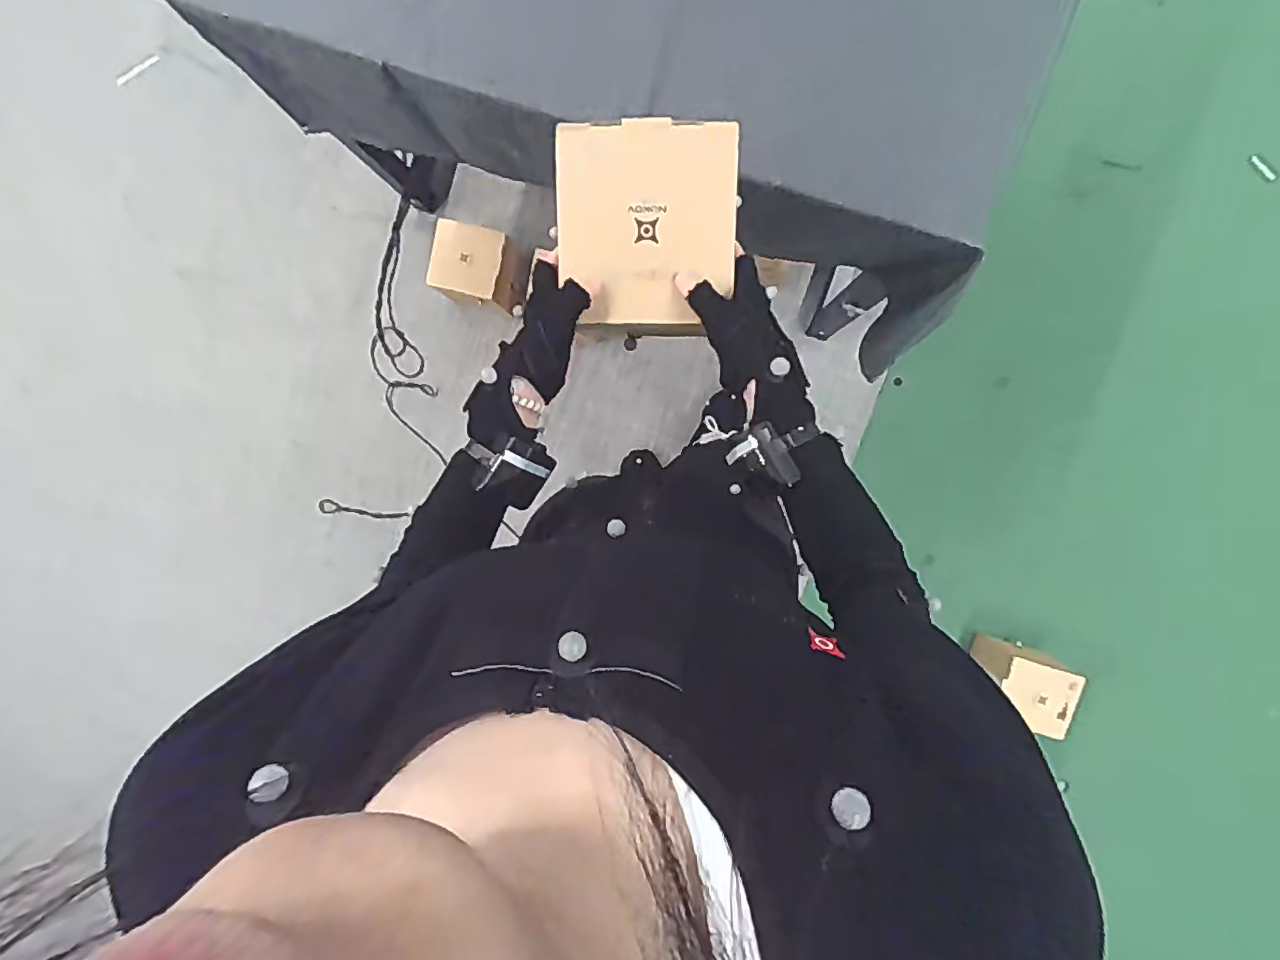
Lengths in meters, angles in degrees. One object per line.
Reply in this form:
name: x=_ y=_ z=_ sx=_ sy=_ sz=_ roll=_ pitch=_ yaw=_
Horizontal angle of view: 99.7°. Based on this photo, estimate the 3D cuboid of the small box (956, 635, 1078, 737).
small box: x=0.956 y=0.517 z=1.389 sx=0.179 sy=0.176 sz=0.168 roll=18 pitch=95 yaw=3

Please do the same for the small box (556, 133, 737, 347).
small box: x=0.005 y=-0.238 z=0.576 sx=0.168 sy=0.176 sz=0.179 roll=1 pitch=101 yaw=1
